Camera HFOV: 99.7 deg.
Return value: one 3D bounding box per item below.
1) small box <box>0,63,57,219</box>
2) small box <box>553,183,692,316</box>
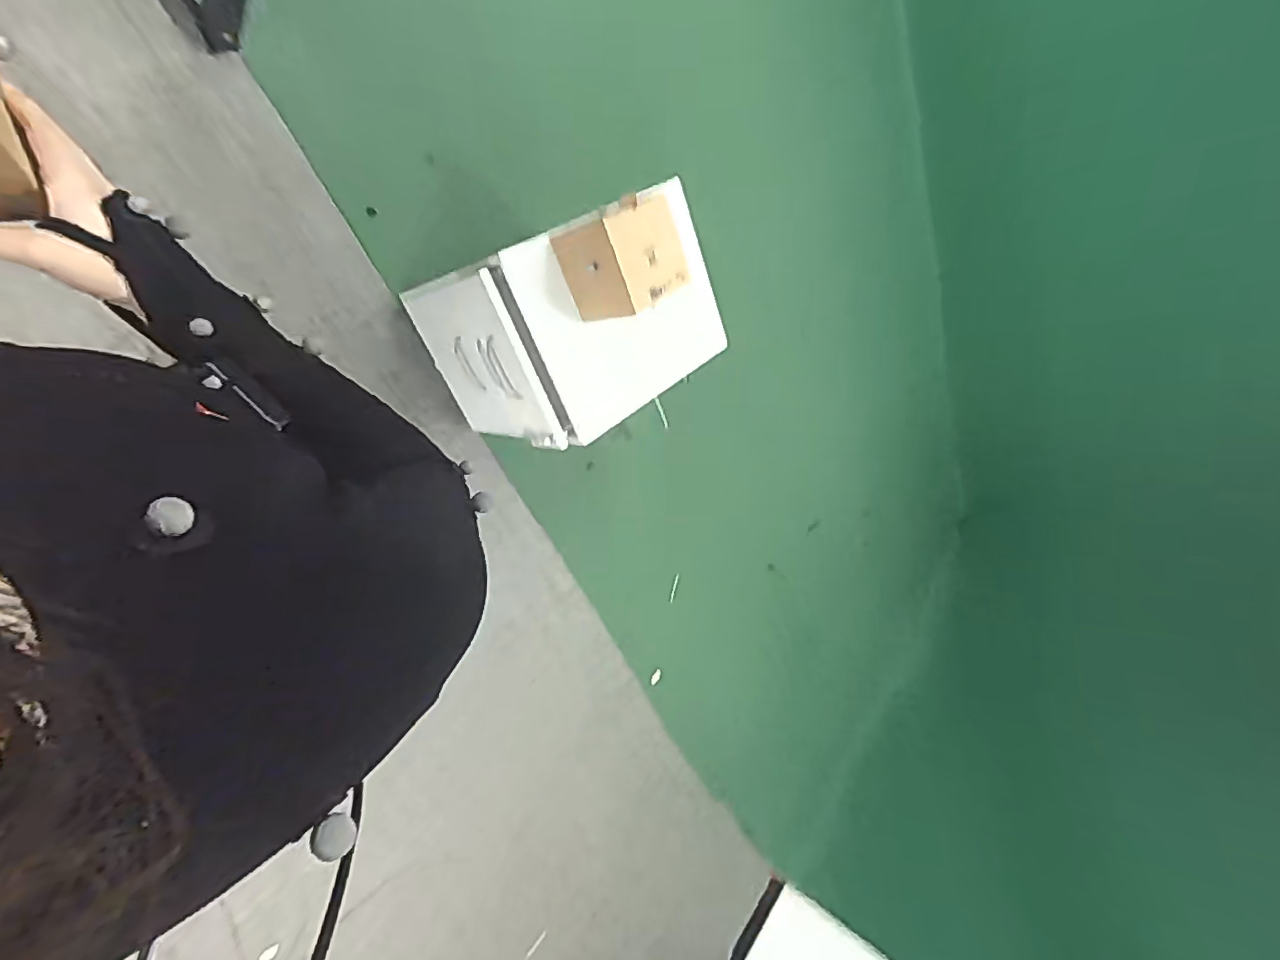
[{"bbox_3d":[-0.423,-0.220,0.237,0.179,0.176,0.168,-23,110,-35],"label":"small box"},{"bbox_3d":[-0.036,-0.428,1.025,0.168,0.176,0.179,-40,122,-29],"label":"small box"}]
